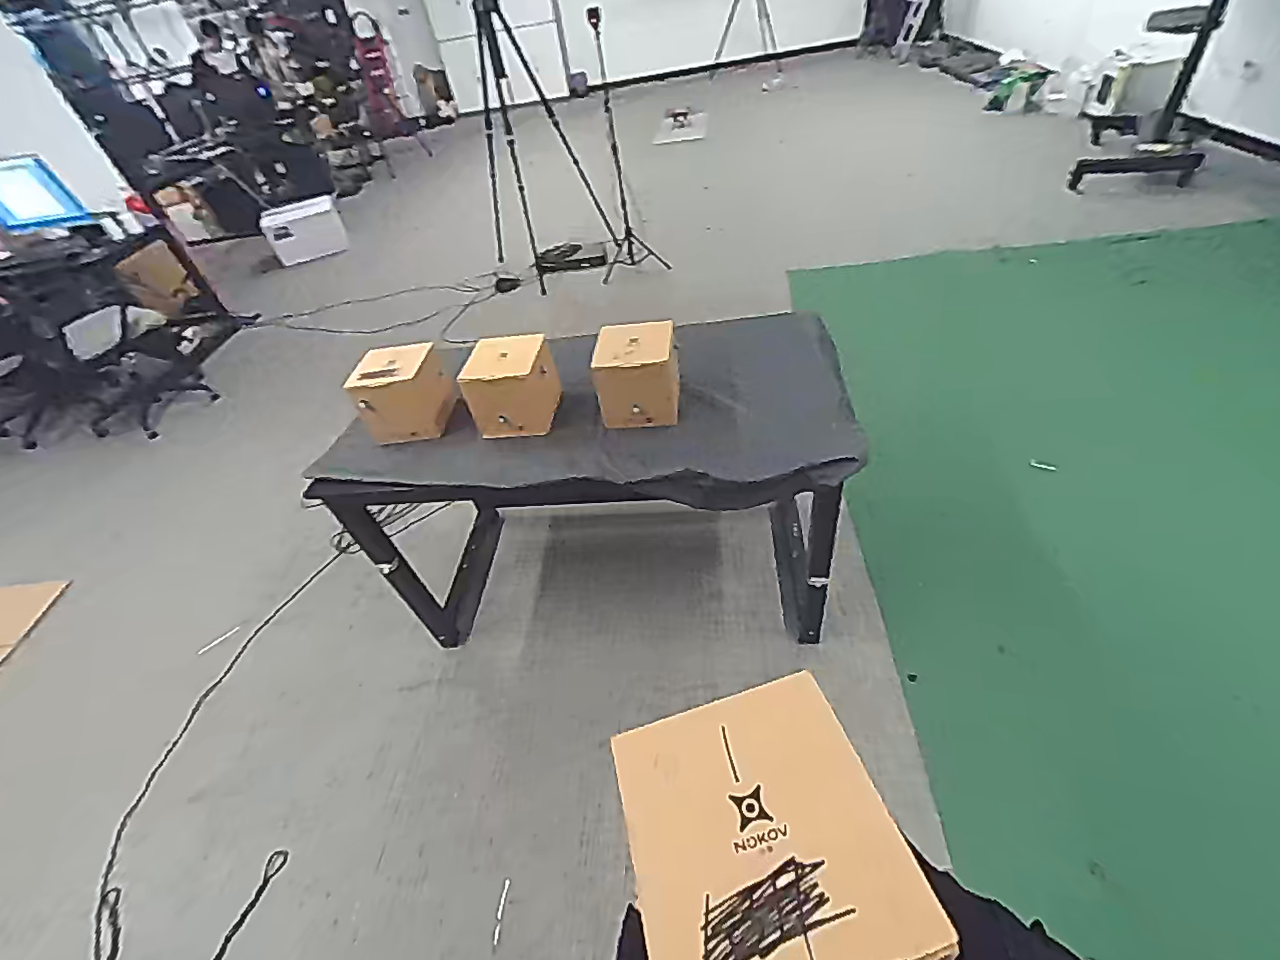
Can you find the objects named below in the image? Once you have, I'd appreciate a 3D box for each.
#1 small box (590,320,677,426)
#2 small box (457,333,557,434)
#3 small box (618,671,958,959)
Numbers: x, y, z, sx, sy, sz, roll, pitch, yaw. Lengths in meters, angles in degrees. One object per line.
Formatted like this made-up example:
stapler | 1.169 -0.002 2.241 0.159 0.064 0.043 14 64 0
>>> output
small box | -0.007 -0.242 1.229 0.168 0.176 0.179 -2 45 9
small box | -0.302 -0.226 1.273 0.168 0.176 0.179 -2 45 8
small box | 0.094 0.281 0.399 0.168 0.176 0.179 -17 37 -2
